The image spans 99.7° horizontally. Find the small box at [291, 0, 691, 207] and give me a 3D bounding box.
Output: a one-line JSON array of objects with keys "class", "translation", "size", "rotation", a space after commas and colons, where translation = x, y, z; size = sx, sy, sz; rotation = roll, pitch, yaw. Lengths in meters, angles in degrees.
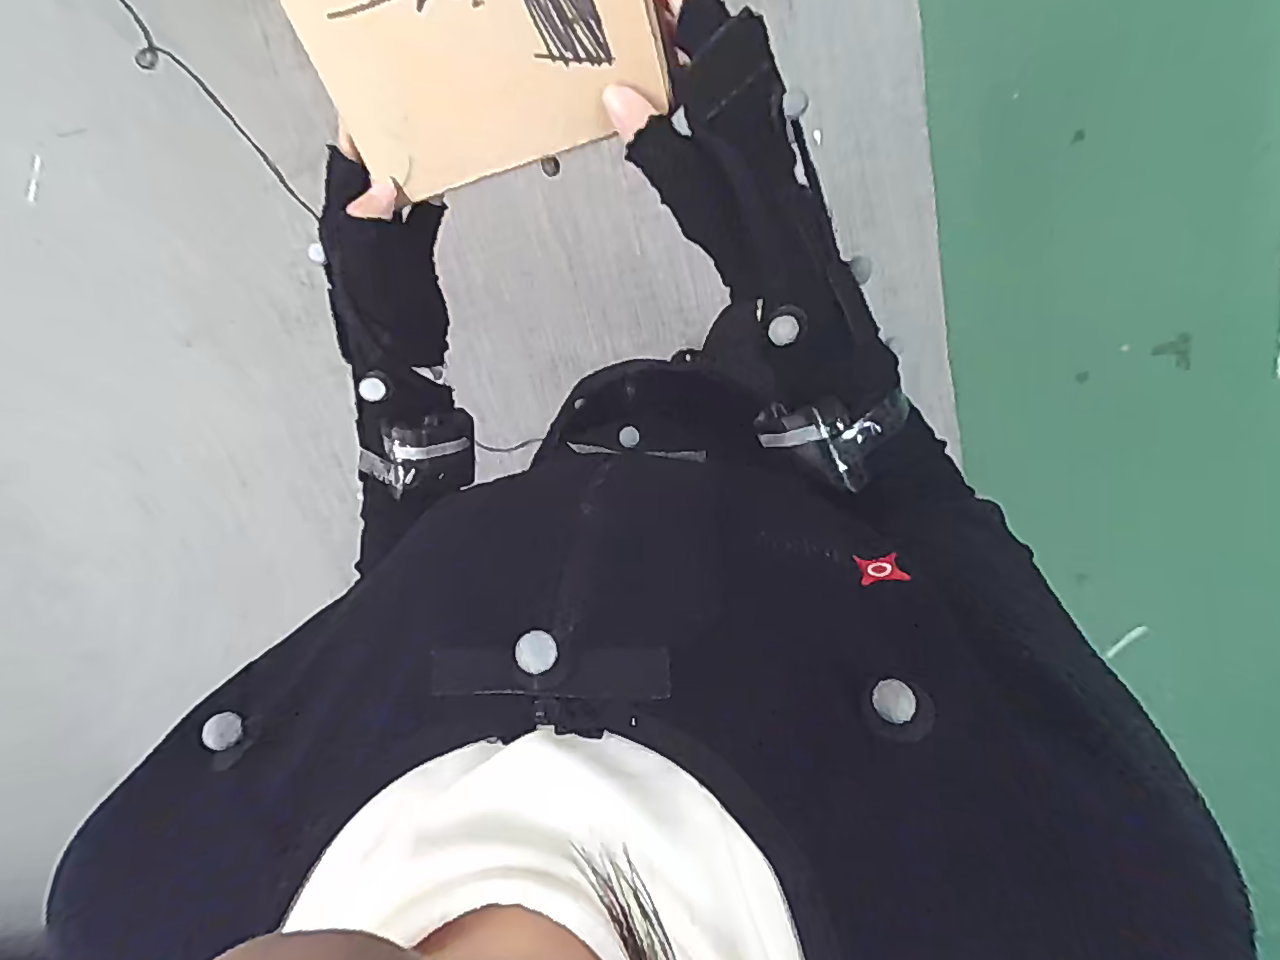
[{"class": "small box", "translation": [-0.072, -0.285, 0.309], "size": [0.179, 0.176, 0.168], "rotation": [-7, 128, 19]}]
